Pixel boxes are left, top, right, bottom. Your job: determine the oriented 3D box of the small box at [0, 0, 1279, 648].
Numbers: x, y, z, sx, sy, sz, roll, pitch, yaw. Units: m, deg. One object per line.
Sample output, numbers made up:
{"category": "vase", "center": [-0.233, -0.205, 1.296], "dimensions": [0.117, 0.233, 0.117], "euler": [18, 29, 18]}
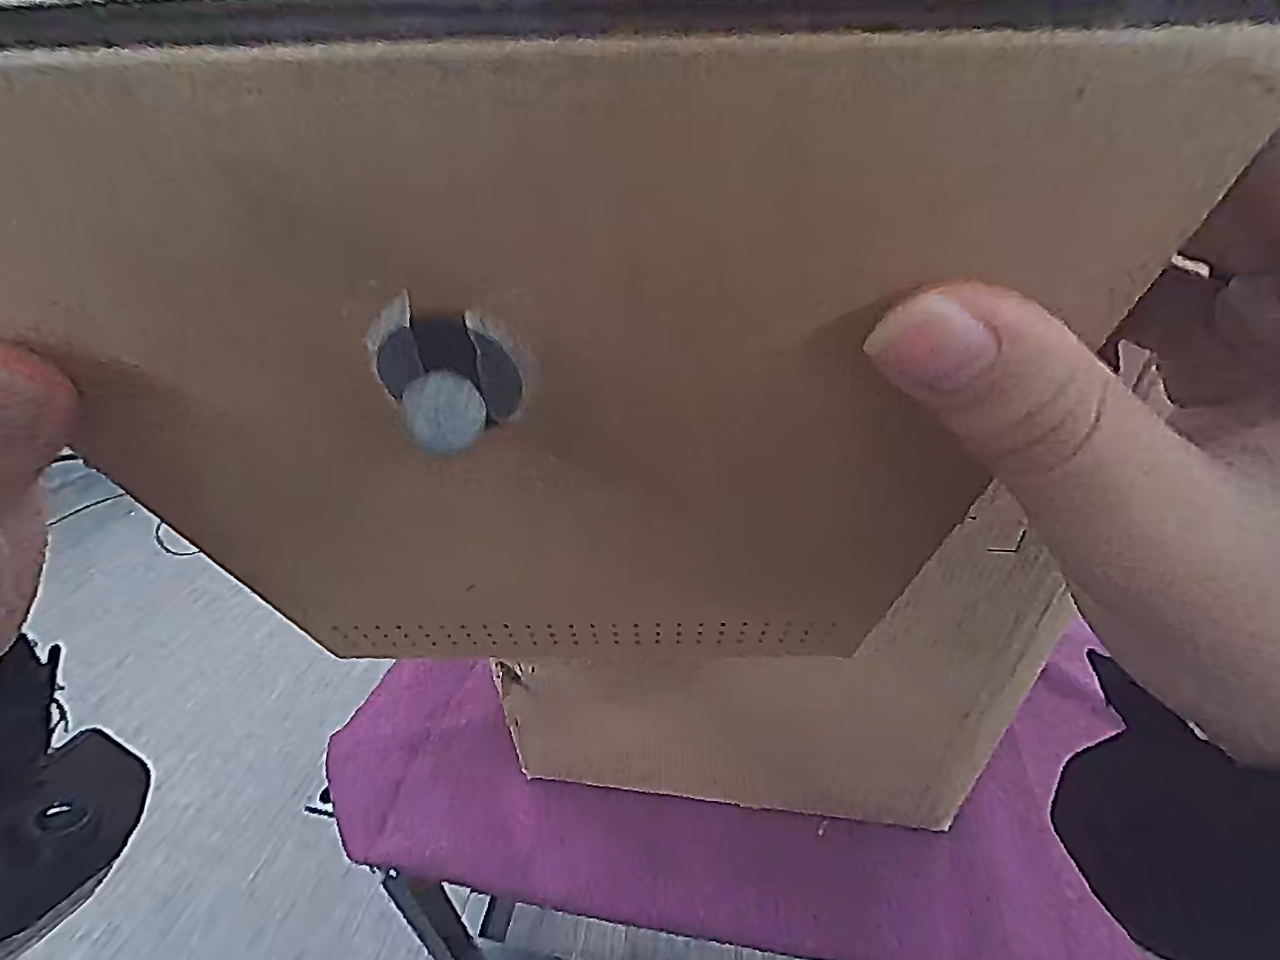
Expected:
{"category": "small box", "center": [-0.015, -0.056, 0.168], "dimensions": [0.179, 0.176, 0.168], "euler": [-1, 52, 1]}
